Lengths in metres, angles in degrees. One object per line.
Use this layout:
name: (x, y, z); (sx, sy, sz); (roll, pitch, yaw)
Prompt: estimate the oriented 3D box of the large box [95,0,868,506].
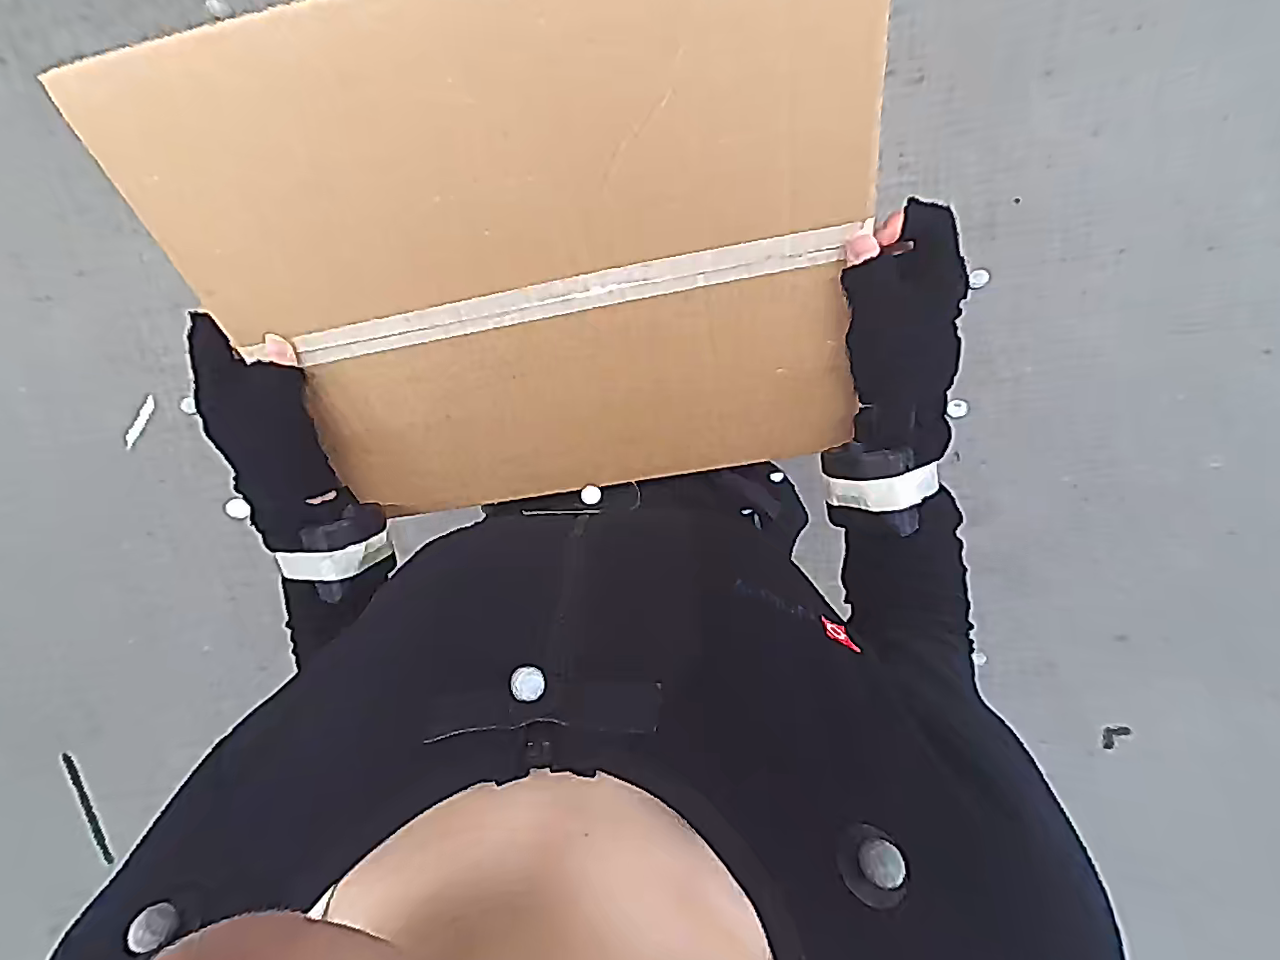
large box: (-0.066, -0.217, 0.463); (0.408, 0.320, 0.320); (-9, 131, 7)
